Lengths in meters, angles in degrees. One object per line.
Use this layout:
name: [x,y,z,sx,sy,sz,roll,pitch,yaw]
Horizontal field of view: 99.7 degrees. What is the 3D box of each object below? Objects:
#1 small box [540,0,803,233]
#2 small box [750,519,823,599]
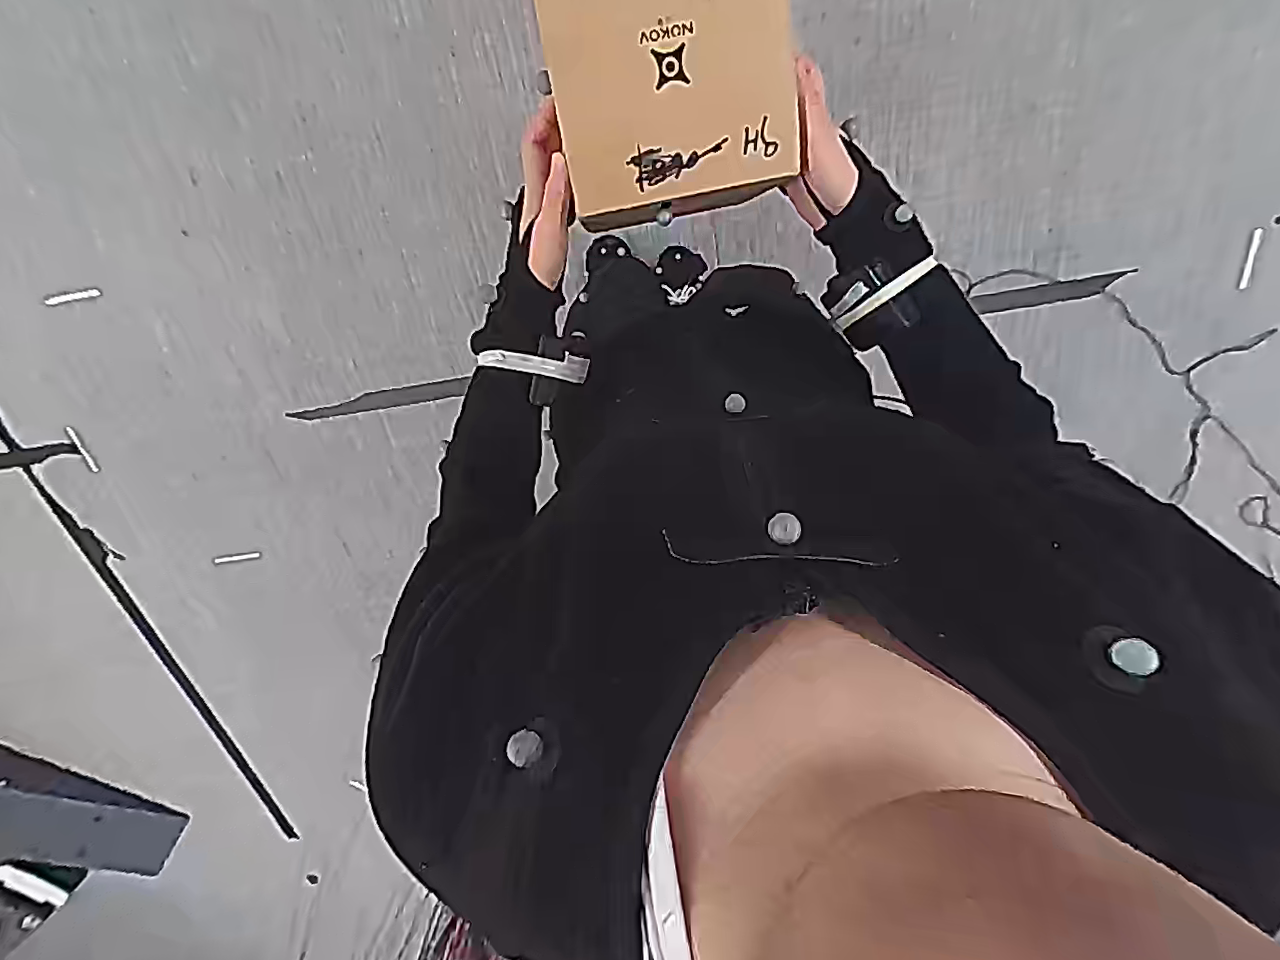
small box: [0.017,-0.310,0.431,0.168,0.176,0.179,-11,111,1]
small box: [0.426,0.225,1.584,0.179,0.176,0.168,-6,114,5]
